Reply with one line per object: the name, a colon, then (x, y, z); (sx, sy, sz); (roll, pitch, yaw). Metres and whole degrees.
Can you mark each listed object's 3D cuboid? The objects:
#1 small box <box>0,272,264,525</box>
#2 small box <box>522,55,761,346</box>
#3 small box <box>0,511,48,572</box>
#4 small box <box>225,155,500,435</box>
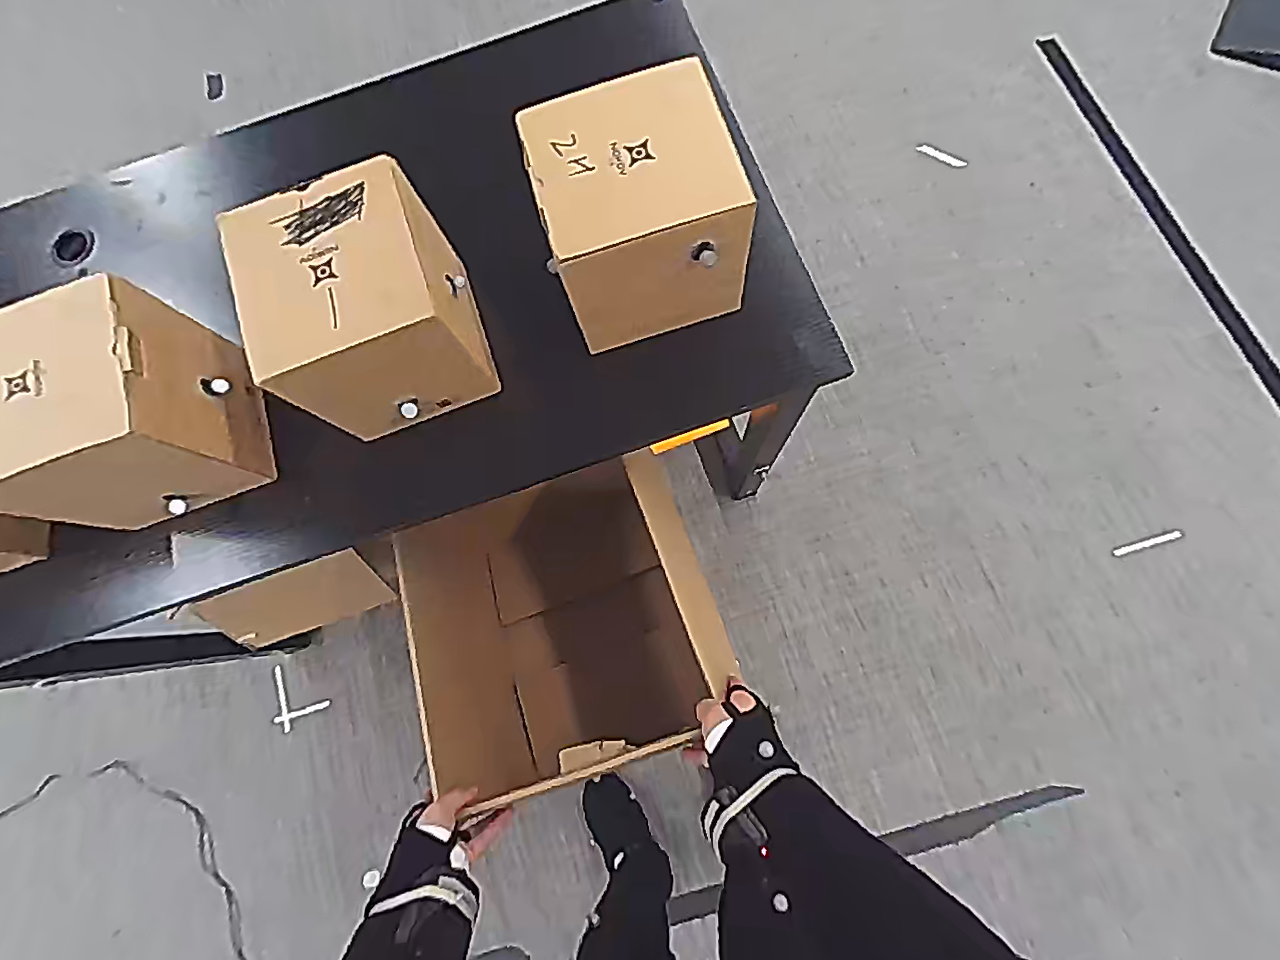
small box: (-0.513, -0.066, 0.538); (0.179, 0.176, 0.168); (-20, 76, -1)
small box: (0.002, -0.261, 0.539); (0.179, 0.176, 0.168); (-16, 75, 1)
small box: (-0.763, 0.017, 0.539); (0.179, 0.176, 0.168); (-17, 77, 0)
small box: (-0.261, -0.170, 0.542); (0.168, 0.176, 0.179); (-21, 77, 0)
